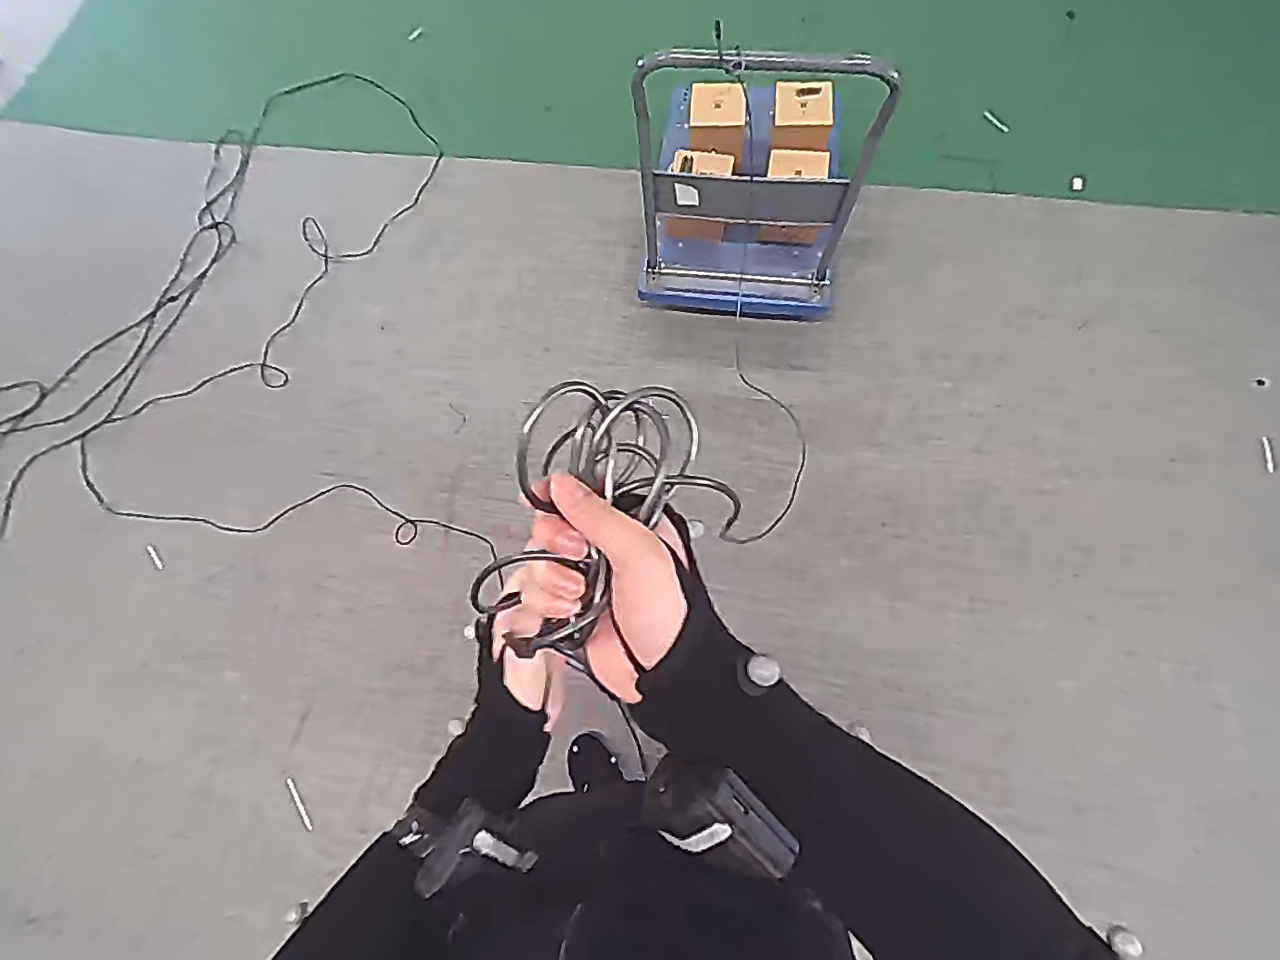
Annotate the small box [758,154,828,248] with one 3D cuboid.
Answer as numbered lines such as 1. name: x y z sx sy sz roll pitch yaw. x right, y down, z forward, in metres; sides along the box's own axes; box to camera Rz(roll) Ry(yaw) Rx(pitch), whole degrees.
1. small box: 0.447 -0.819 1.595 0.168 0.176 0.179 8 72 8

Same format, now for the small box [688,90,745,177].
1. small box: 0.239 -1.085 1.704 0.168 0.176 0.179 4 71 5

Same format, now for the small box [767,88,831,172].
1. small box: 0.489 -1.073 1.678 0.168 0.176 0.179 3 72 7
